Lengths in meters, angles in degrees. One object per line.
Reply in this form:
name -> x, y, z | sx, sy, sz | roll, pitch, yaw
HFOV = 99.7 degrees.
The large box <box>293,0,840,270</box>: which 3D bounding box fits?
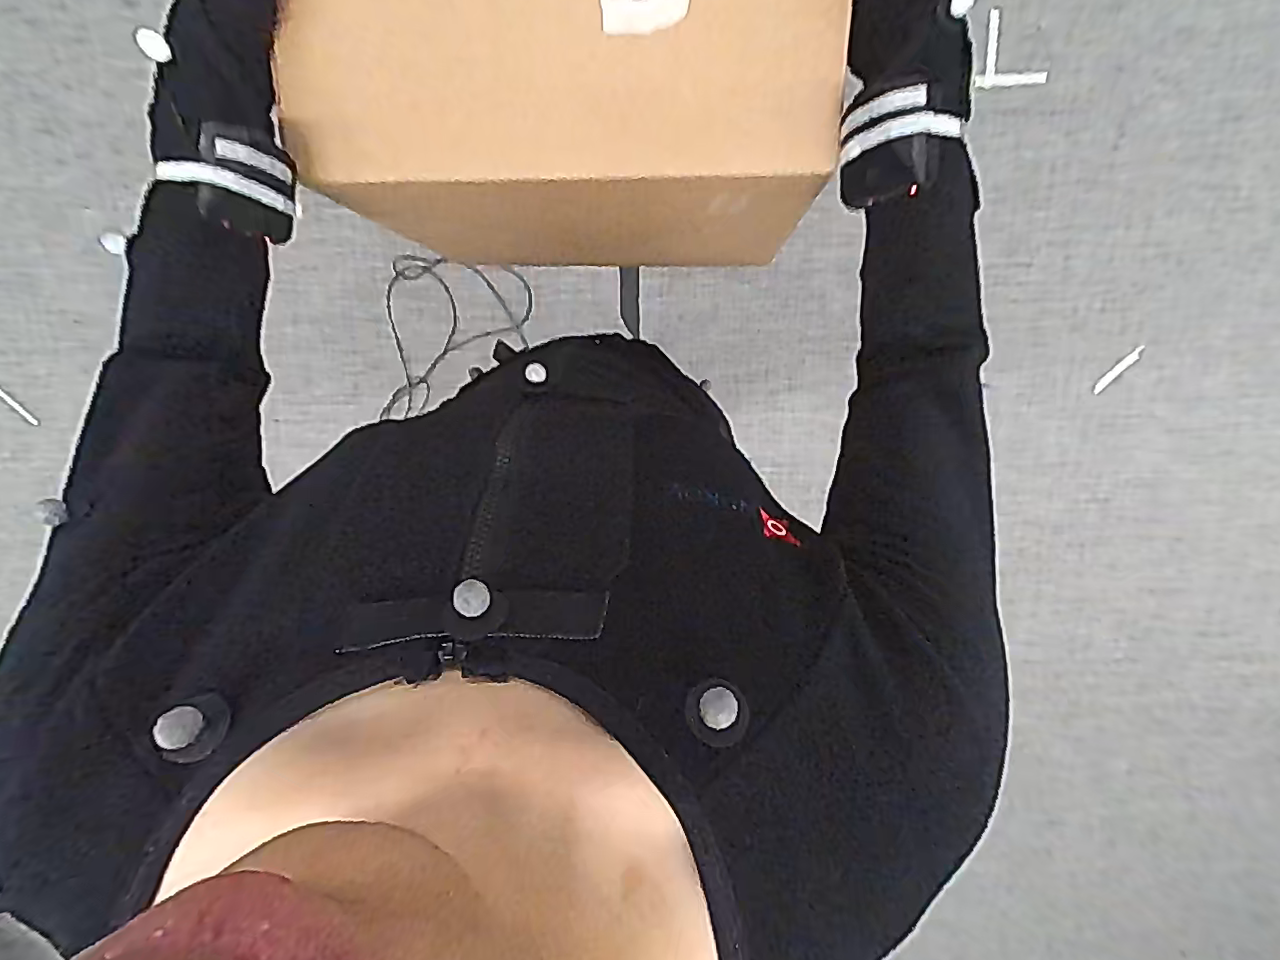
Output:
large box -> -0.048, -0.401, 0.528 | 0.408, 0.320, 0.320 | 1, 101, 4
